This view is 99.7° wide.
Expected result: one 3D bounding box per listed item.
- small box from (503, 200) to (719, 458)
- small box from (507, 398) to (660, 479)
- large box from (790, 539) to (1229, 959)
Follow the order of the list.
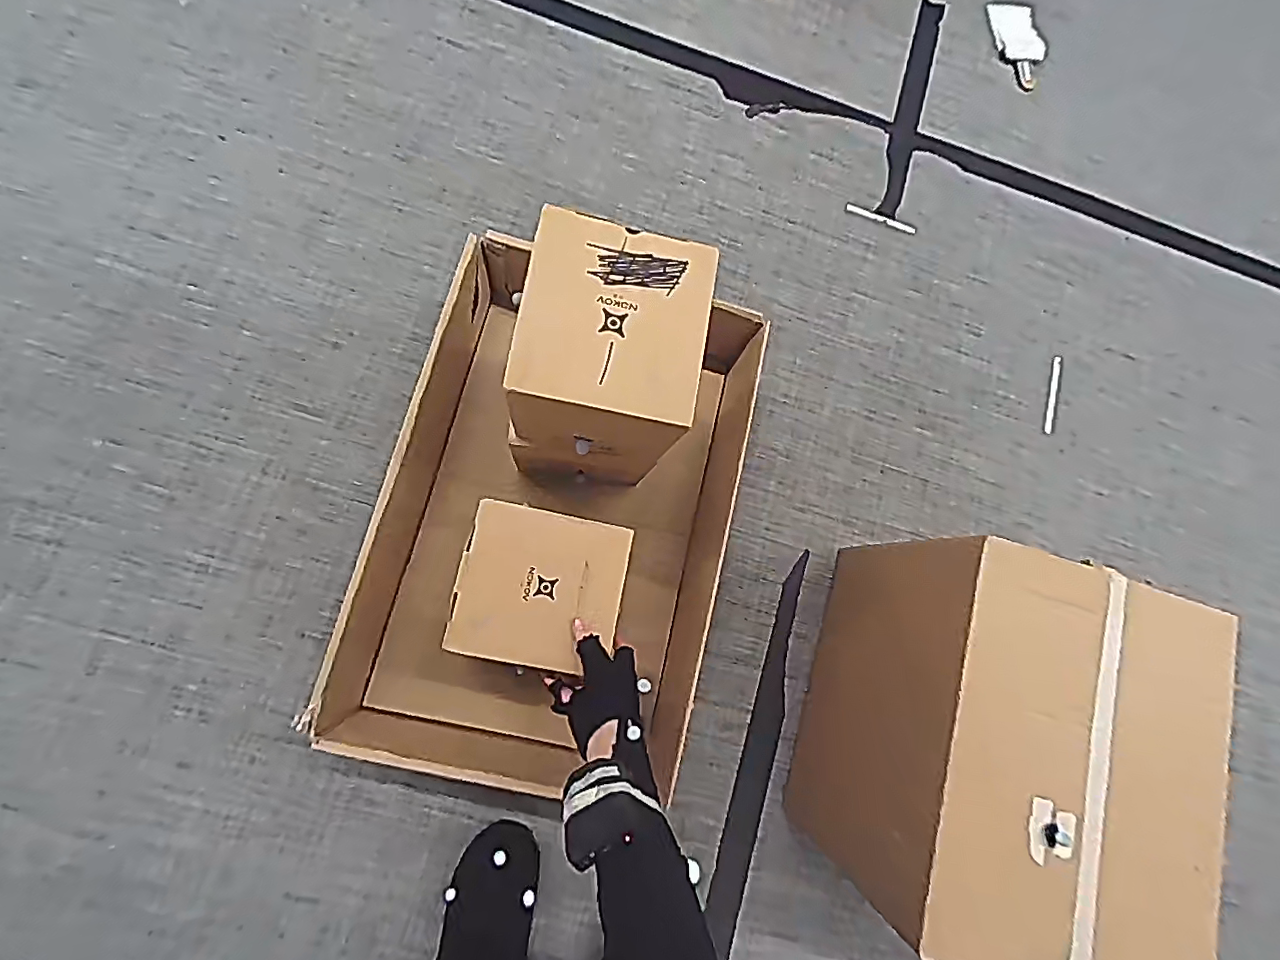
[{"bbox_3d":[-0.033,-0.134,0.545,0.168,0.176,0.179,11,80,-6],"label":"small box"},{"bbox_3d":[-0.068,-0.099,0.703,0.179,0.176,0.168,7,80,-8],"label":"small box"},{"bbox_3d":[0.428,0.311,0.685,0.320,0.320,0.408,17,79,-4],"label":"large box"}]
